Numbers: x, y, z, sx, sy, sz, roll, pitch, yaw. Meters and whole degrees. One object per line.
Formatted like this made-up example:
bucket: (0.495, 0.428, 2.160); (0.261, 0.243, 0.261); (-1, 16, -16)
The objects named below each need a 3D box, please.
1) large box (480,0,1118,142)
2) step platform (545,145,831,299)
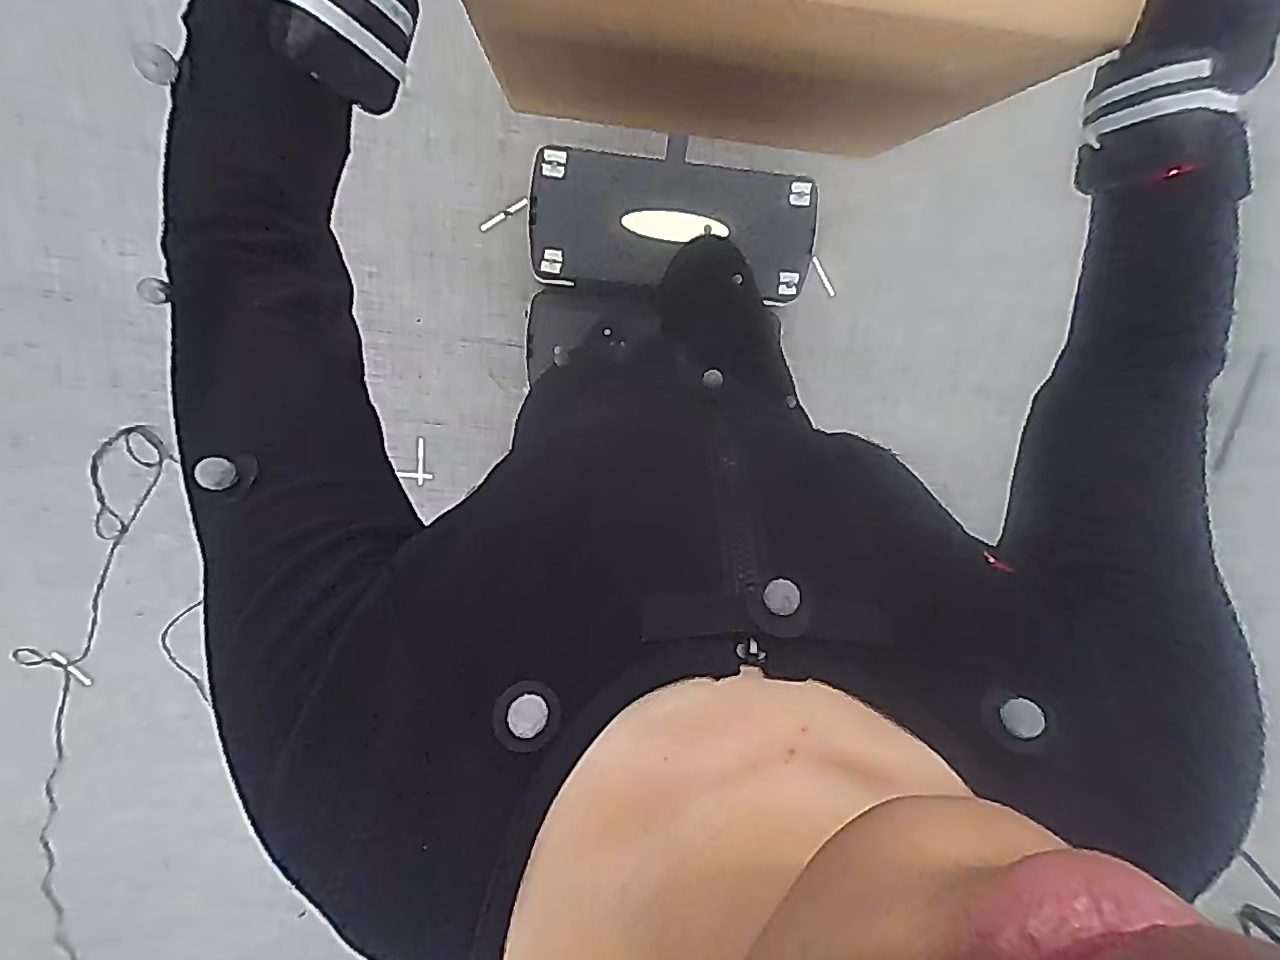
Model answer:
large box: (0.088, -0.478, 0.400); (0.408, 0.320, 0.320); (2, 110, -7)
step platform: (0.112, -0.620, 1.333); (0.684, 0.204, 0.286); (3, 106, -6)
